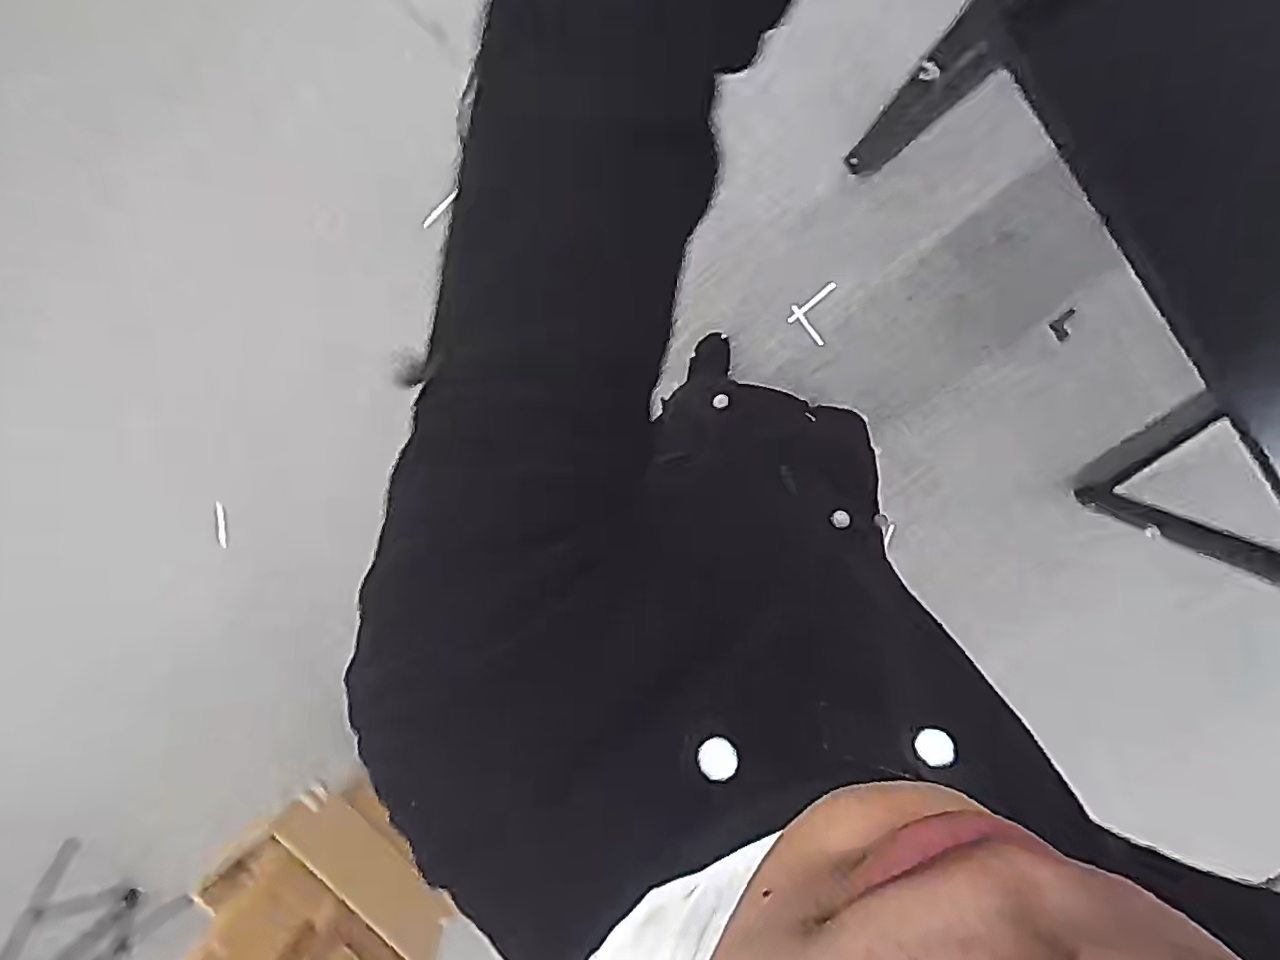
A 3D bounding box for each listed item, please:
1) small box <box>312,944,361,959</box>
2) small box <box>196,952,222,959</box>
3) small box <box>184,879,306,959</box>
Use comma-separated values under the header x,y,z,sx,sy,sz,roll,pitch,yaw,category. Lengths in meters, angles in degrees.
x,y,z,sx,sy,sz,roll,pitch,yaw,category
-0.827,1.376,1.410,0.179,0.176,0.168,-38,99,15,small box
-1.023,1.232,1.222,0.168,0.176,0.179,44,105,-6,small box
-1.003,1.178,1.376,0.179,0.176,0.168,-41,97,13,small box
